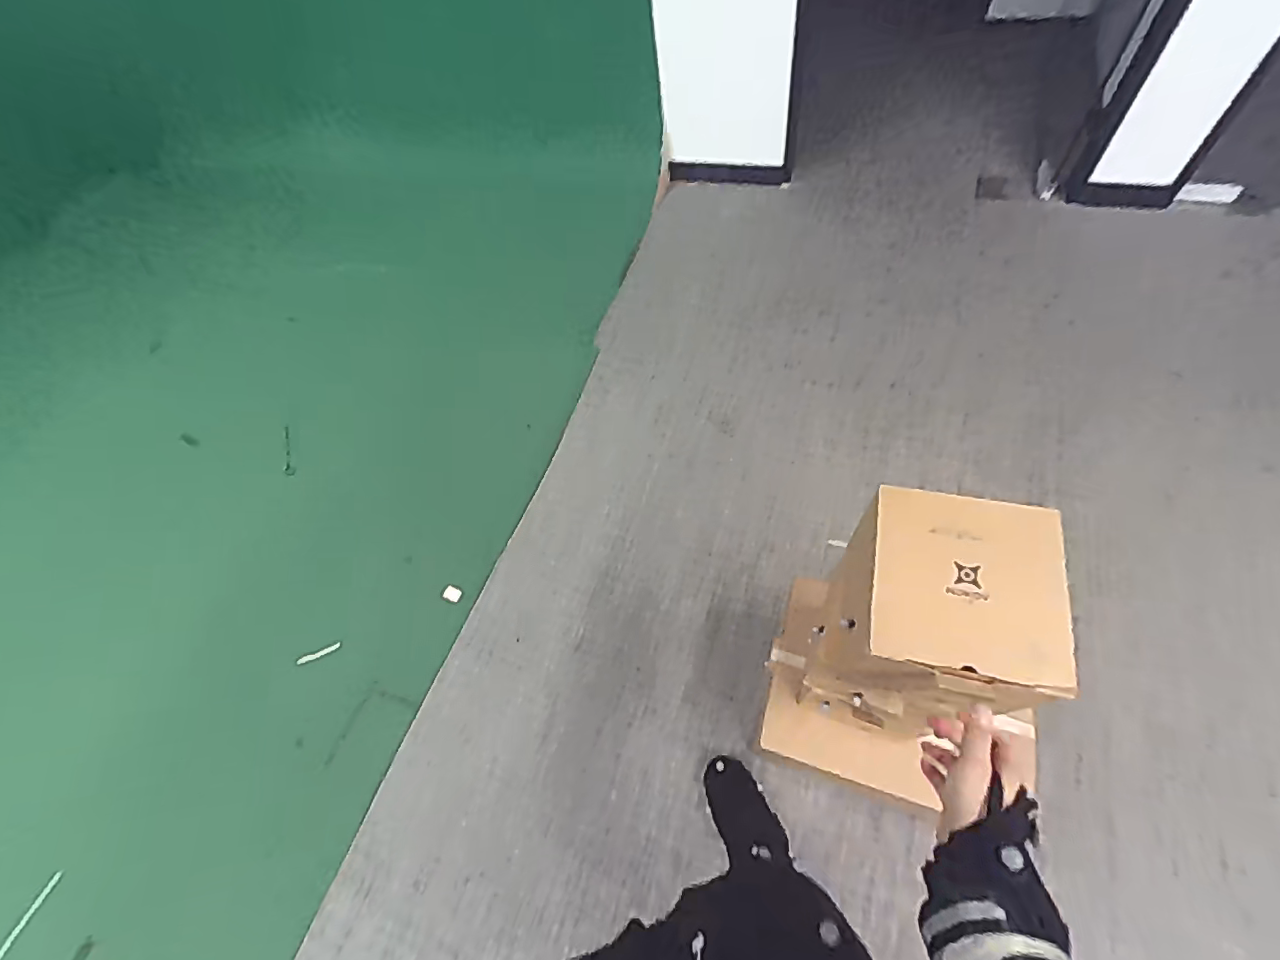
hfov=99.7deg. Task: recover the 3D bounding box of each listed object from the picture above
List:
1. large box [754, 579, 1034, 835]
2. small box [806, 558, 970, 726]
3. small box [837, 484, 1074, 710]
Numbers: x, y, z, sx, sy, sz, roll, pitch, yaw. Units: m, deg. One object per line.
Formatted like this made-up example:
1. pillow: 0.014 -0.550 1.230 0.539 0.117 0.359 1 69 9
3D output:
1. large box: 0.452 0.426 1.034 0.408 0.320 0.320 13 64 15
2. small box: 0.328 0.200 0.711 0.168 0.176 0.179 18 66 18
3. small box: 0.309 0.128 0.566 0.168 0.176 0.179 9 63 13
